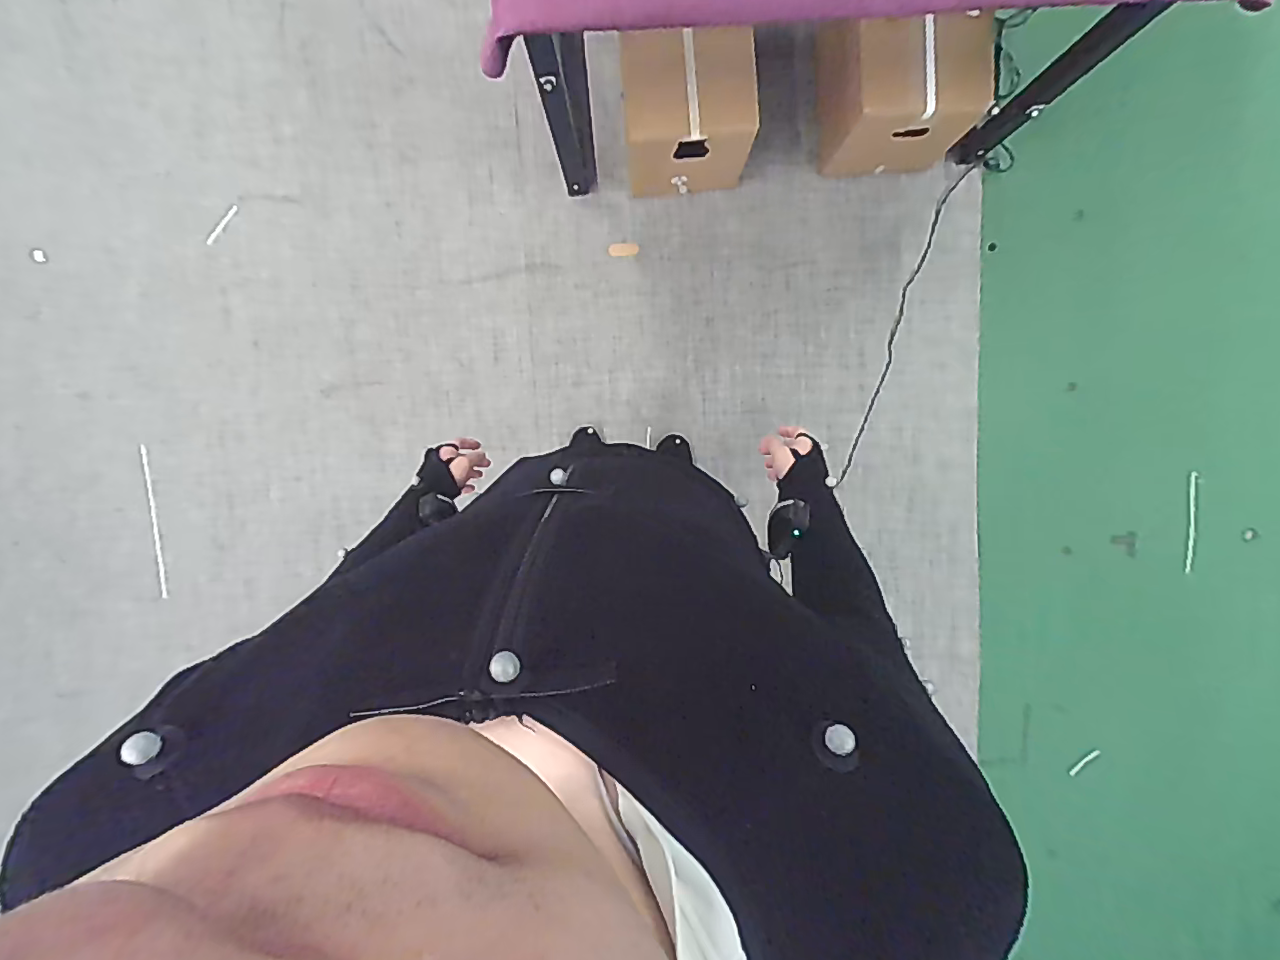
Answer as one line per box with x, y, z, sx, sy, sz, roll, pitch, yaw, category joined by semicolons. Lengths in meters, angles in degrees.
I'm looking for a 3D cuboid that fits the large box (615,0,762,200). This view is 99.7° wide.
0.114;-1.010;1.402;0.320;0.320;0.408;-6;94;0;large box
